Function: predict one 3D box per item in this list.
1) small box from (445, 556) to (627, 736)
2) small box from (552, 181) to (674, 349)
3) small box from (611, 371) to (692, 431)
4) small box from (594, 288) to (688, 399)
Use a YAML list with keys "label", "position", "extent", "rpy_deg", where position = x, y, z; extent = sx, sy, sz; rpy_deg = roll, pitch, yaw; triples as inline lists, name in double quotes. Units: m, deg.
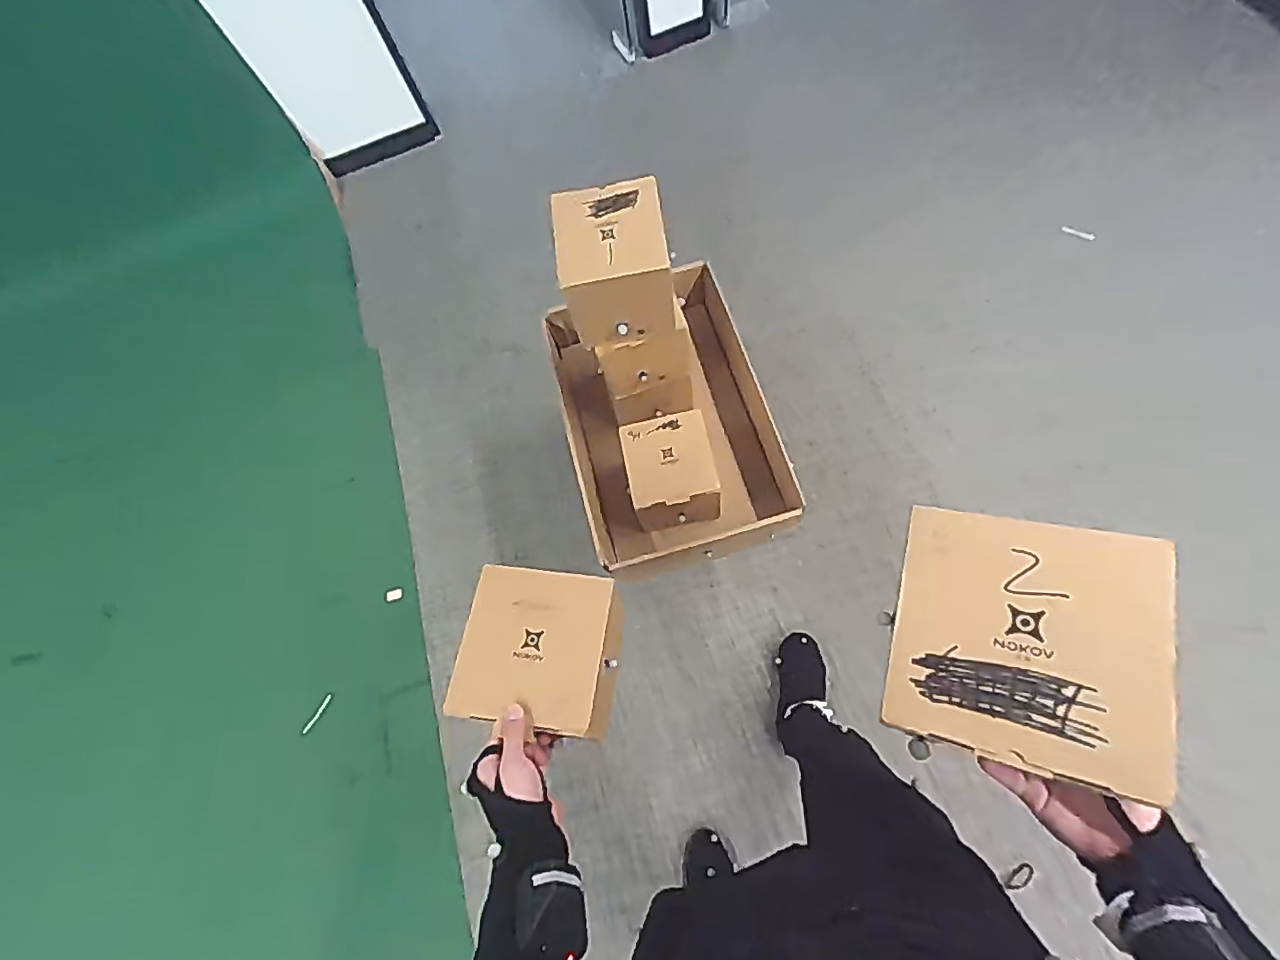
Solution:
- label: "small box"
  position: [-0.115, 0.216, 0.688]
  extent: [0.168, 0.176, 0.179]
  rpy_deg: [5, 60, 8]
- label: "small box"
  position: [-0.039, -0.341, 0.881]
  extent: [0.168, 0.176, 0.179]
  rpy_deg: [-9, 71, 5]
- label: "small box"
  position: [0.011, -0.234, 1.185]
  extent: [0.168, 0.176, 0.179]
  rpy_deg: [-18, 69, 3]
- label: "small box"
  position: [-0.011, -0.285, 1.033]
  extent: [0.168, 0.176, 0.179]
  rpy_deg: [-18, 70, 1]
